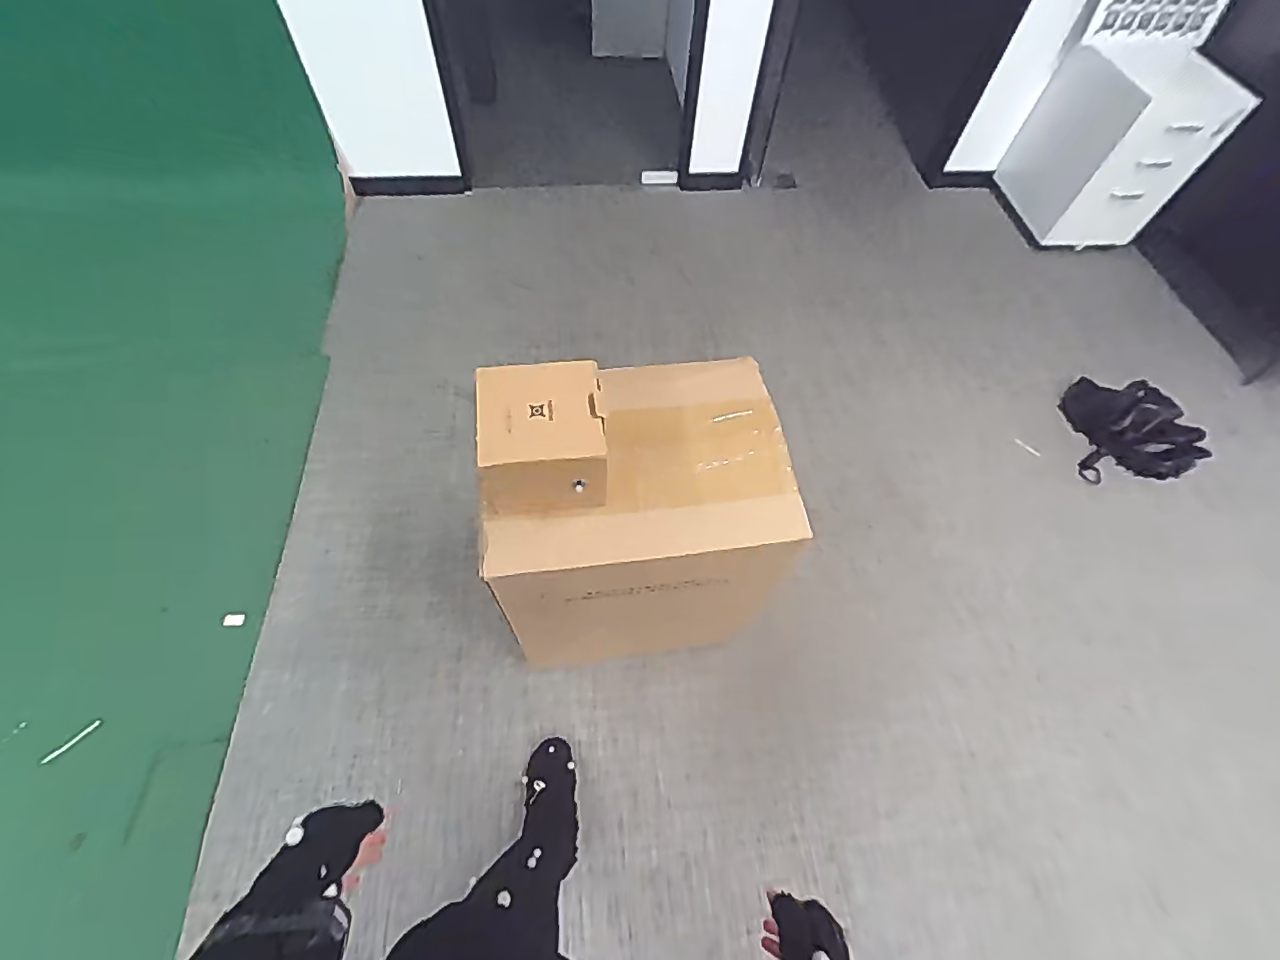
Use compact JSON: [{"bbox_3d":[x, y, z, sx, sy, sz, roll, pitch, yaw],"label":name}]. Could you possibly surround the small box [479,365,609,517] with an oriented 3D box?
[{"bbox_3d":[-0.144,-0.055,0.838,0.179,0.176,0.168,-7,63,-5],"label":"small box"}]
